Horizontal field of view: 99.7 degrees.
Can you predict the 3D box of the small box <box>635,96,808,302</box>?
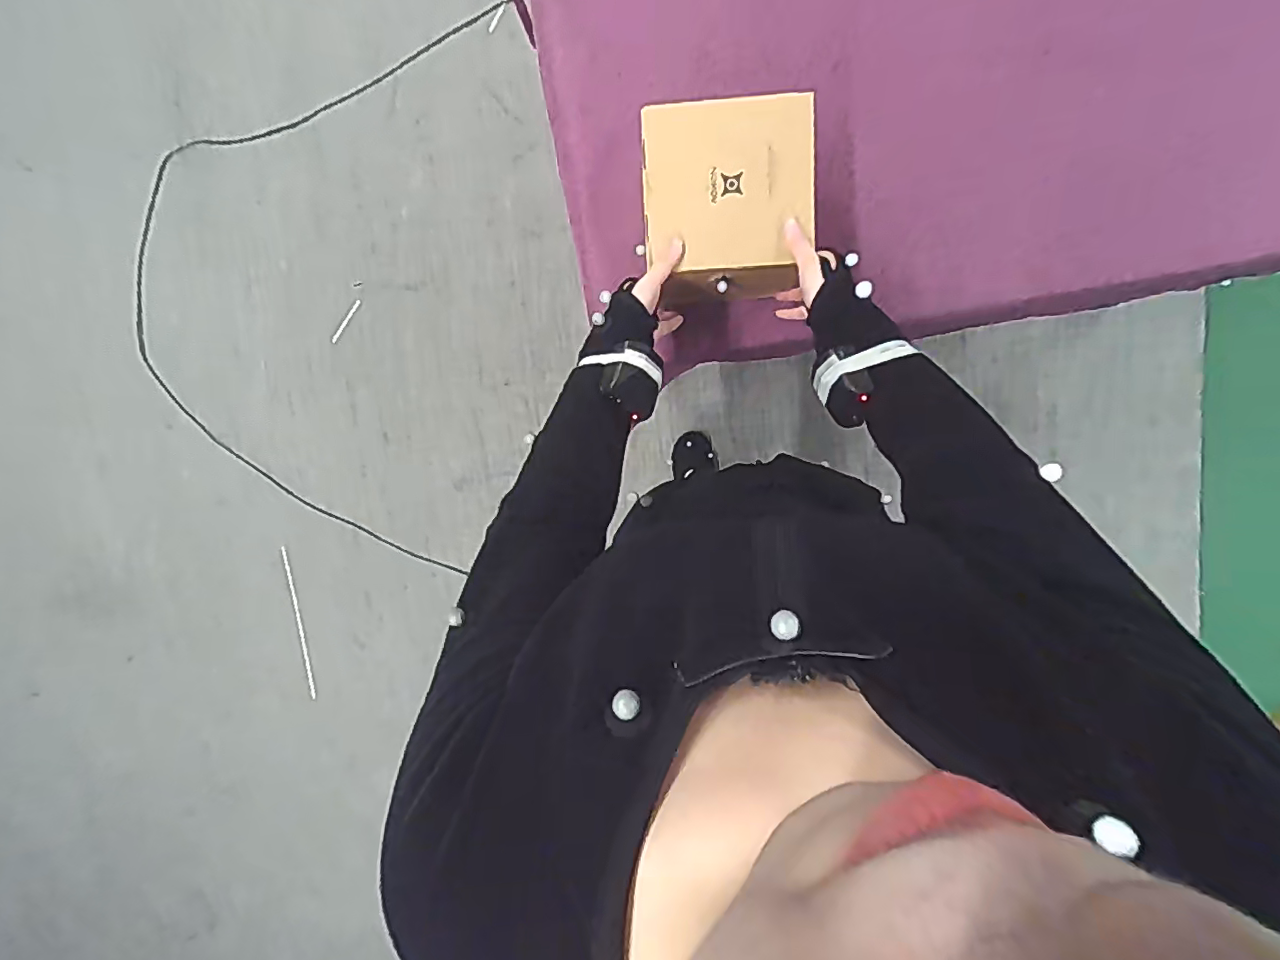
[{"bbox_3d":[0.090,-0.311,0.635,0.179,0.176,0.168,-1,97,4],"label":"small box"}]
